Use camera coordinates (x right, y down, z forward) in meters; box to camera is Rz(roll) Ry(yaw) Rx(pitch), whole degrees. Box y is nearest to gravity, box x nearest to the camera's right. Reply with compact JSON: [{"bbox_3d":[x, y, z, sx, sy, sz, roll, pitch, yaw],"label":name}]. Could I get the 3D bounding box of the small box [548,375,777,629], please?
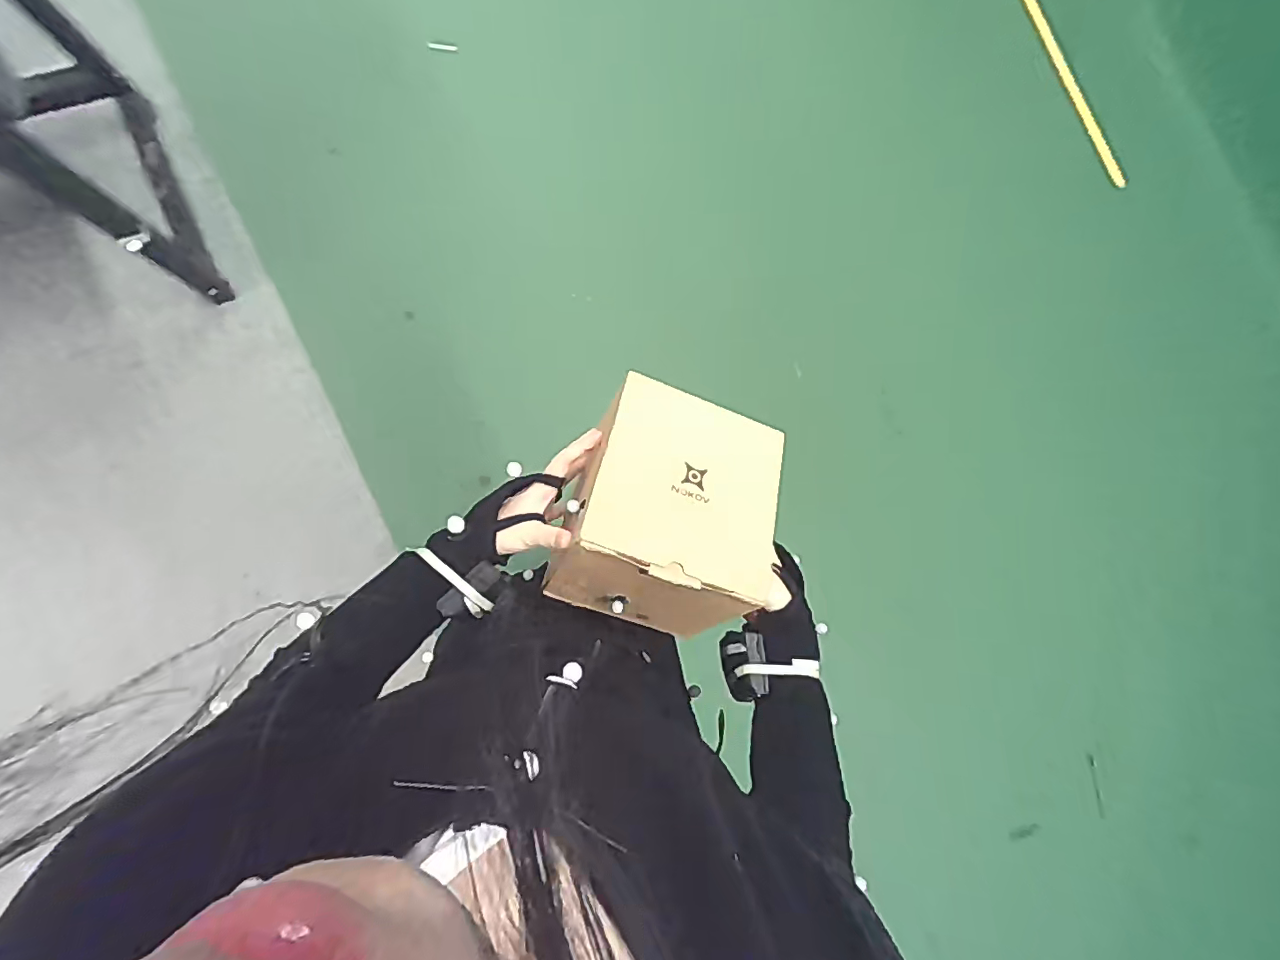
[{"bbox_3d":[0.017,0.034,0.541,0.168,0.176,0.179,19,62,-12],"label":"small box"}]
